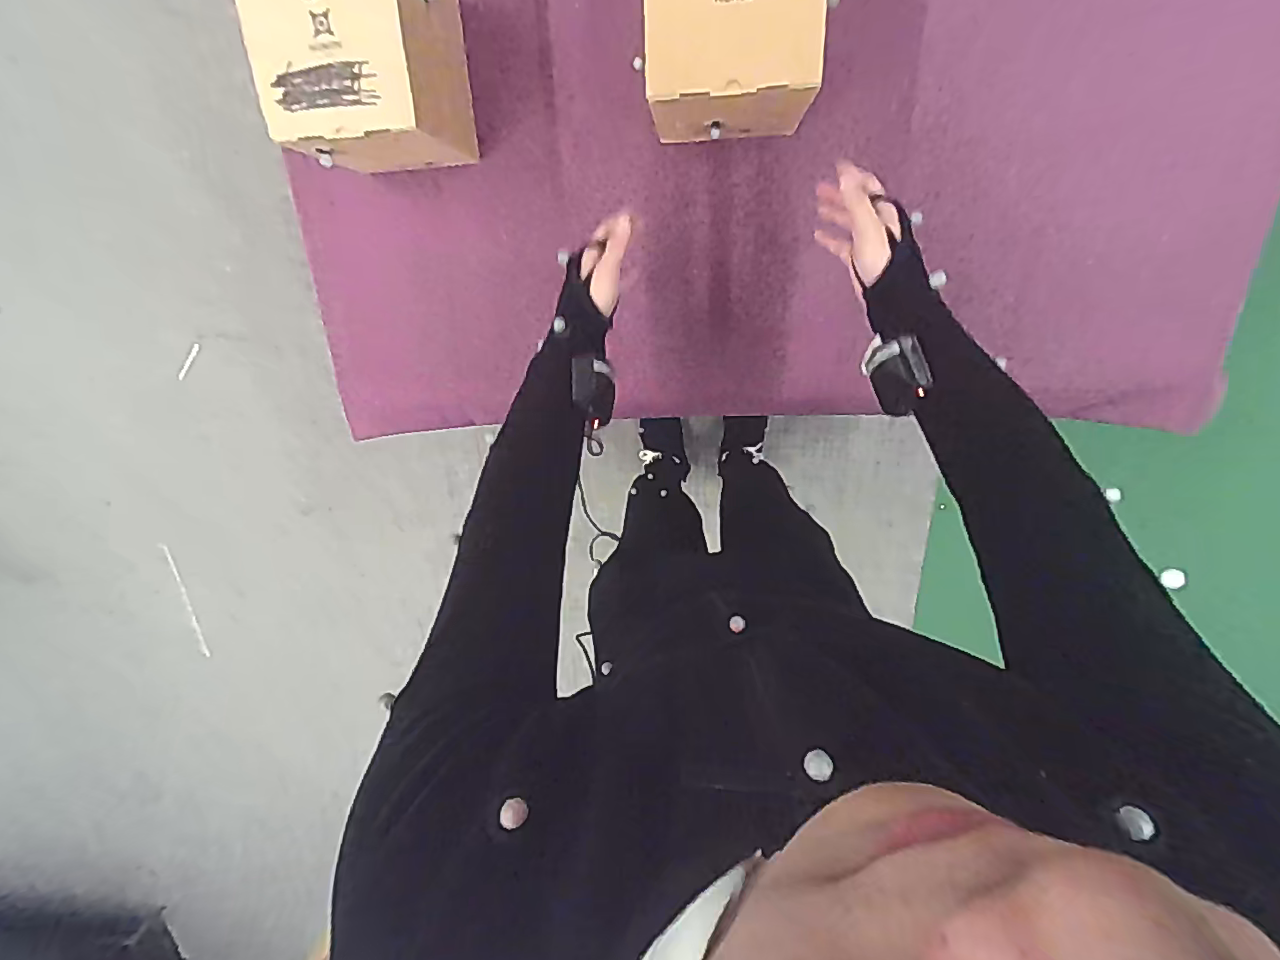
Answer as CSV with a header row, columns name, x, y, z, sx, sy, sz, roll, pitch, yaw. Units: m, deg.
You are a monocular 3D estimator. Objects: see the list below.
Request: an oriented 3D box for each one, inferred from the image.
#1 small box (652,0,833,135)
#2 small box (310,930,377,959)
name,x,y,z,sx,sy,sz,roll,pitch,yaw
small box,0.097,-0.479,0.555,0.168,0.176,0.179,0,111,6
small box,-0.962,1.568,1.686,0.168,0.176,0.179,41,107,-9
